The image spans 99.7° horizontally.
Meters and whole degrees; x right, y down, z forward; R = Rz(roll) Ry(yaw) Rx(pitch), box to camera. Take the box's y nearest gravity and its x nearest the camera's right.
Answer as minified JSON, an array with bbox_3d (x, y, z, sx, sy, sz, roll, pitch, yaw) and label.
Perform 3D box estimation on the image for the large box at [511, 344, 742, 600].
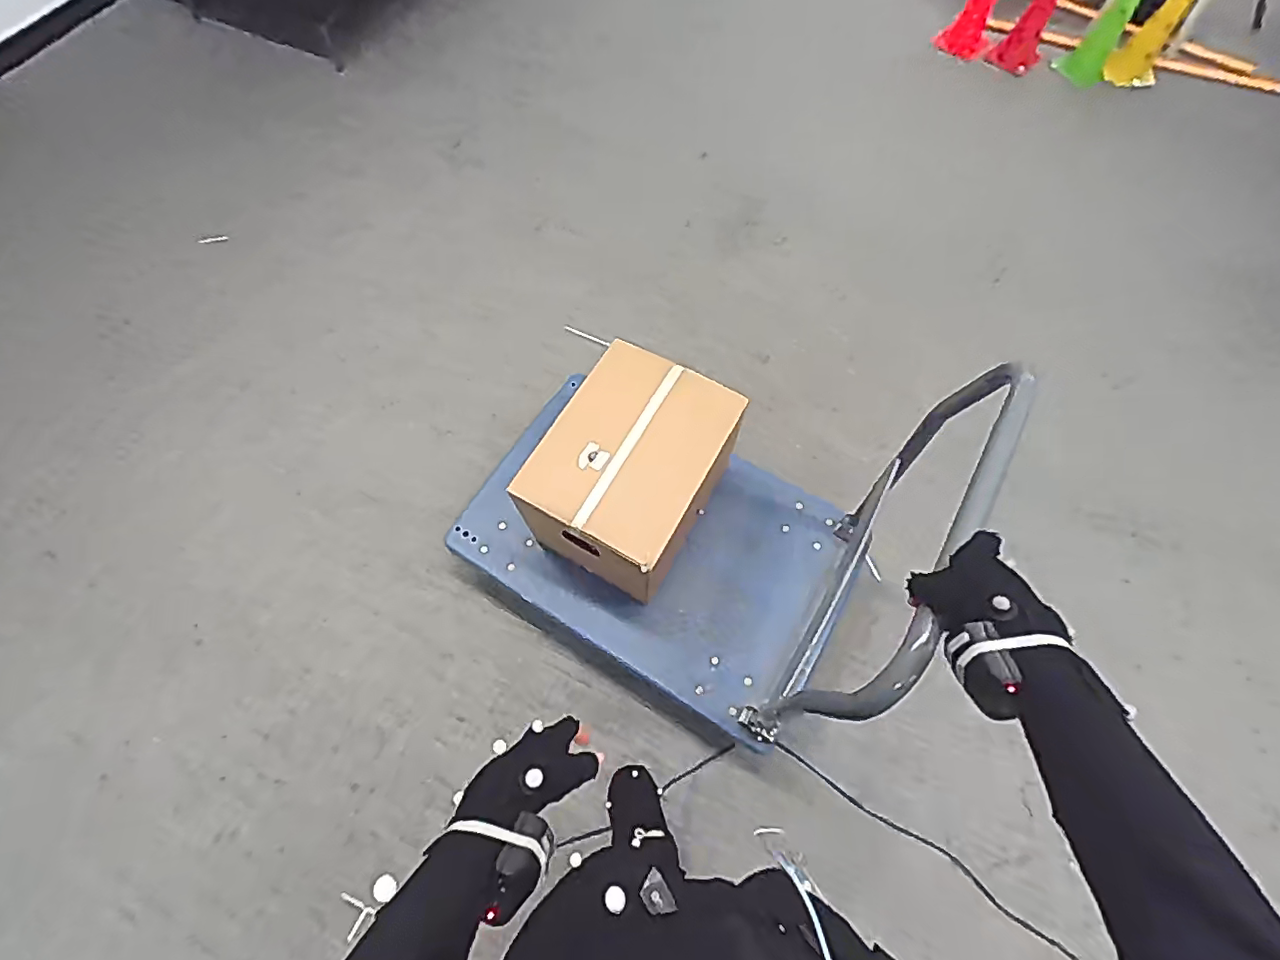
[{"bbox_3d":[-0.016,-0.008,1.185,0.320,0.320,0.408,27,70,13],"label":"large box"}]
